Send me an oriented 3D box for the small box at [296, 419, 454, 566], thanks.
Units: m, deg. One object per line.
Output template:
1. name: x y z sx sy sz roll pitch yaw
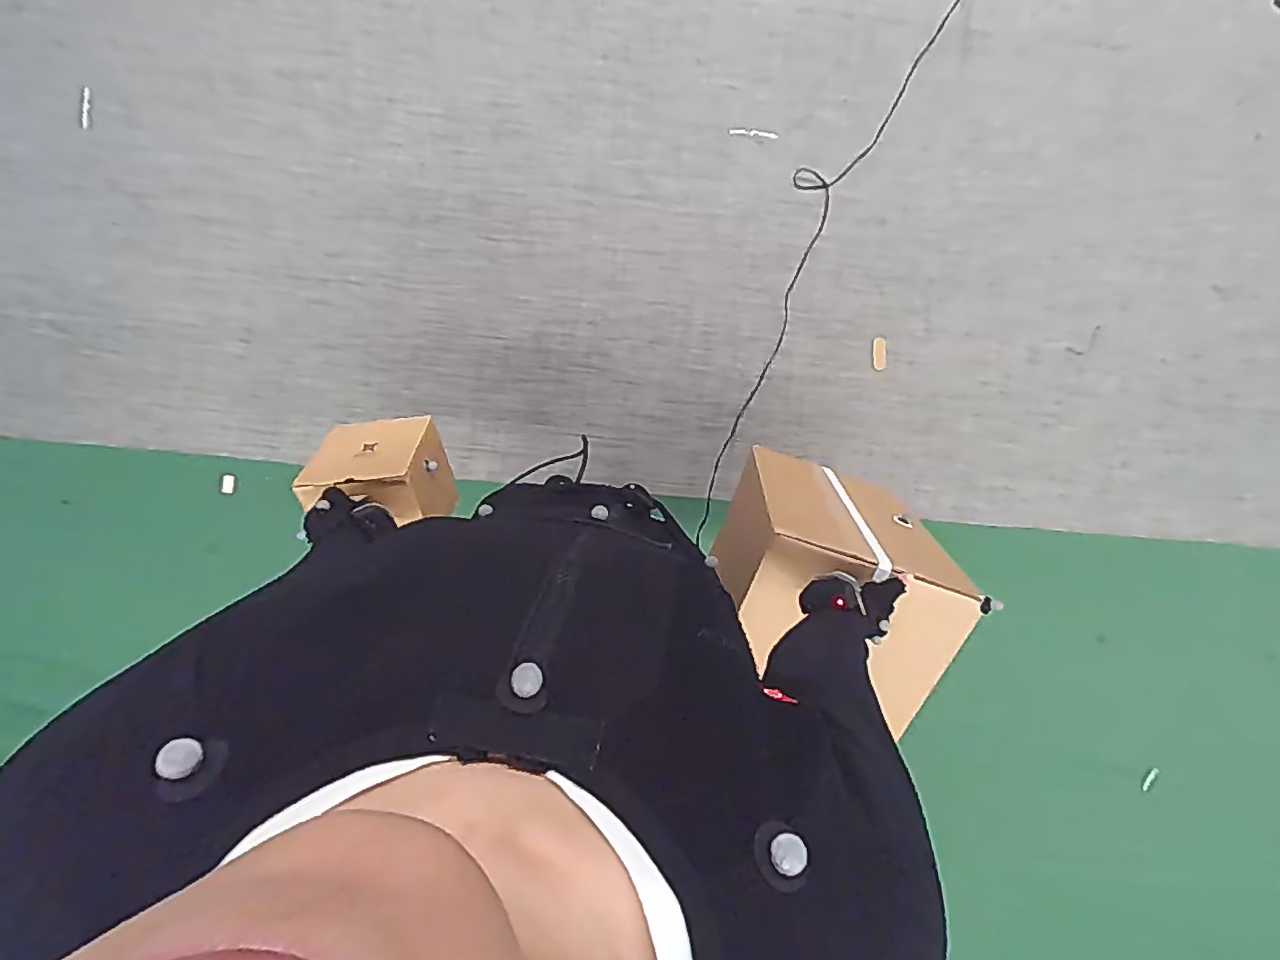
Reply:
1. small box: -0.422 0.019 0.900 0.168 0.179 0.176 -6 128 -1
